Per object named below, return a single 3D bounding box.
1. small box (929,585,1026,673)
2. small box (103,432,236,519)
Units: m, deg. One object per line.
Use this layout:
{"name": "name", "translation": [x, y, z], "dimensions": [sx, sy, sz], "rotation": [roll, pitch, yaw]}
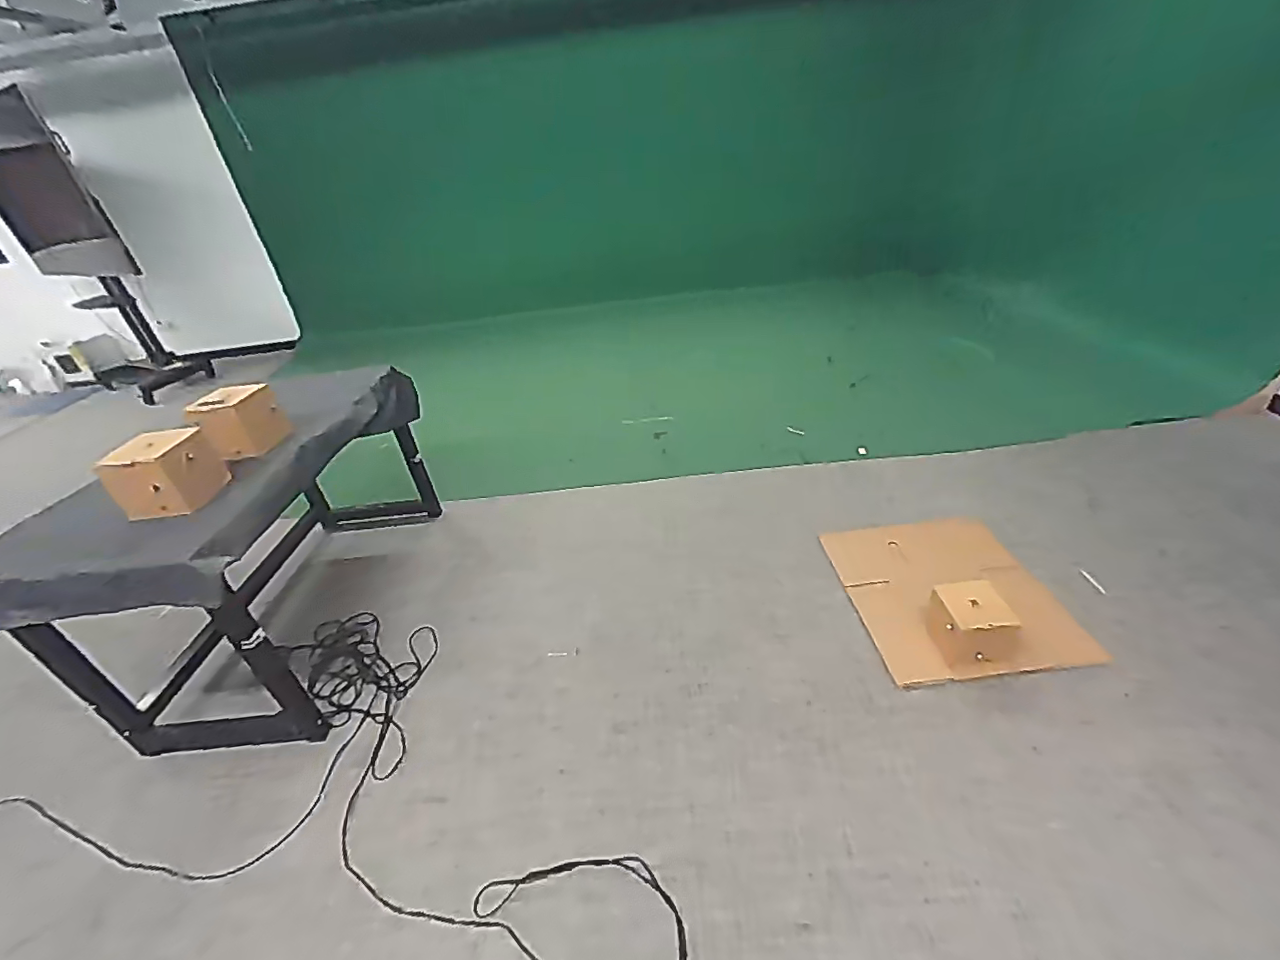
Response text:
{"name": "small box", "translation": [0.967, 0.432, 1.570], "dimensions": [0.168, 0.176, 0.179], "rotation": [-6, 33, 3]}
{"name": "small box", "translation": [-1.218, -0.007, 1.421], "dimensions": [0.168, 0.176, 0.179], "rotation": [-6, 31, 2]}
